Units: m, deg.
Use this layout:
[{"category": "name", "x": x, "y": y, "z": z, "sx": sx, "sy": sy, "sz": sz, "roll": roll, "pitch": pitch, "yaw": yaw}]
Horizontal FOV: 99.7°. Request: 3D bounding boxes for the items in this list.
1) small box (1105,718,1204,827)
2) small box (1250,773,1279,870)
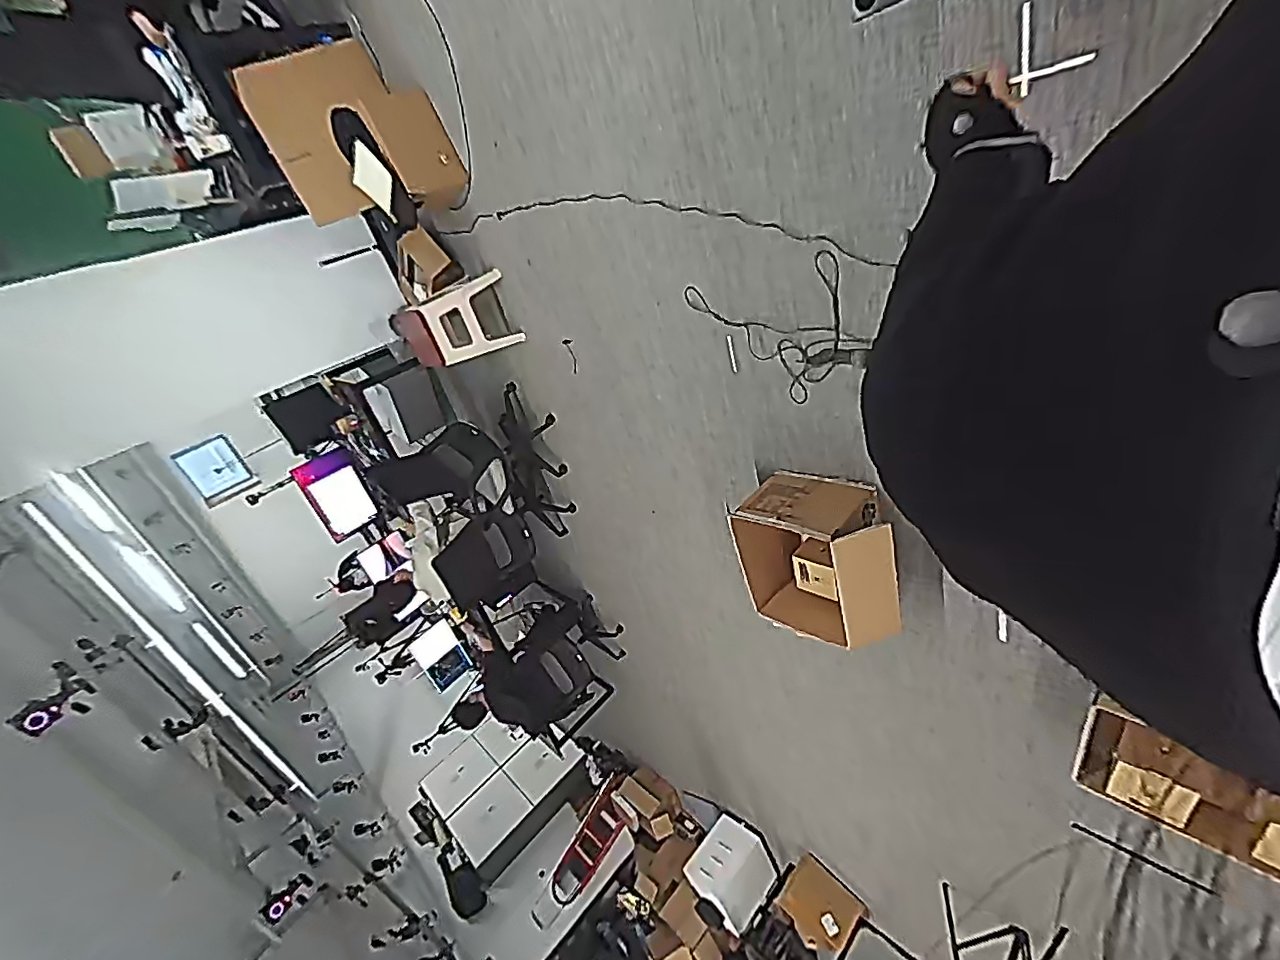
[{"category": "small box", "x": 1.453, "y": 0.817, "z": 1.527, "sx": 0.168, "sy": 0.176, "sz": 0.179, "roll": 18, "pitch": 132, "yaw": 42}, {"category": "small box", "x": 1.647, "y": 0.864, "z": 1.316, "sx": 0.179, "sy": 0.176, "sz": 0.168, "roll": 18, "pitch": 133, "yaw": 45}]
